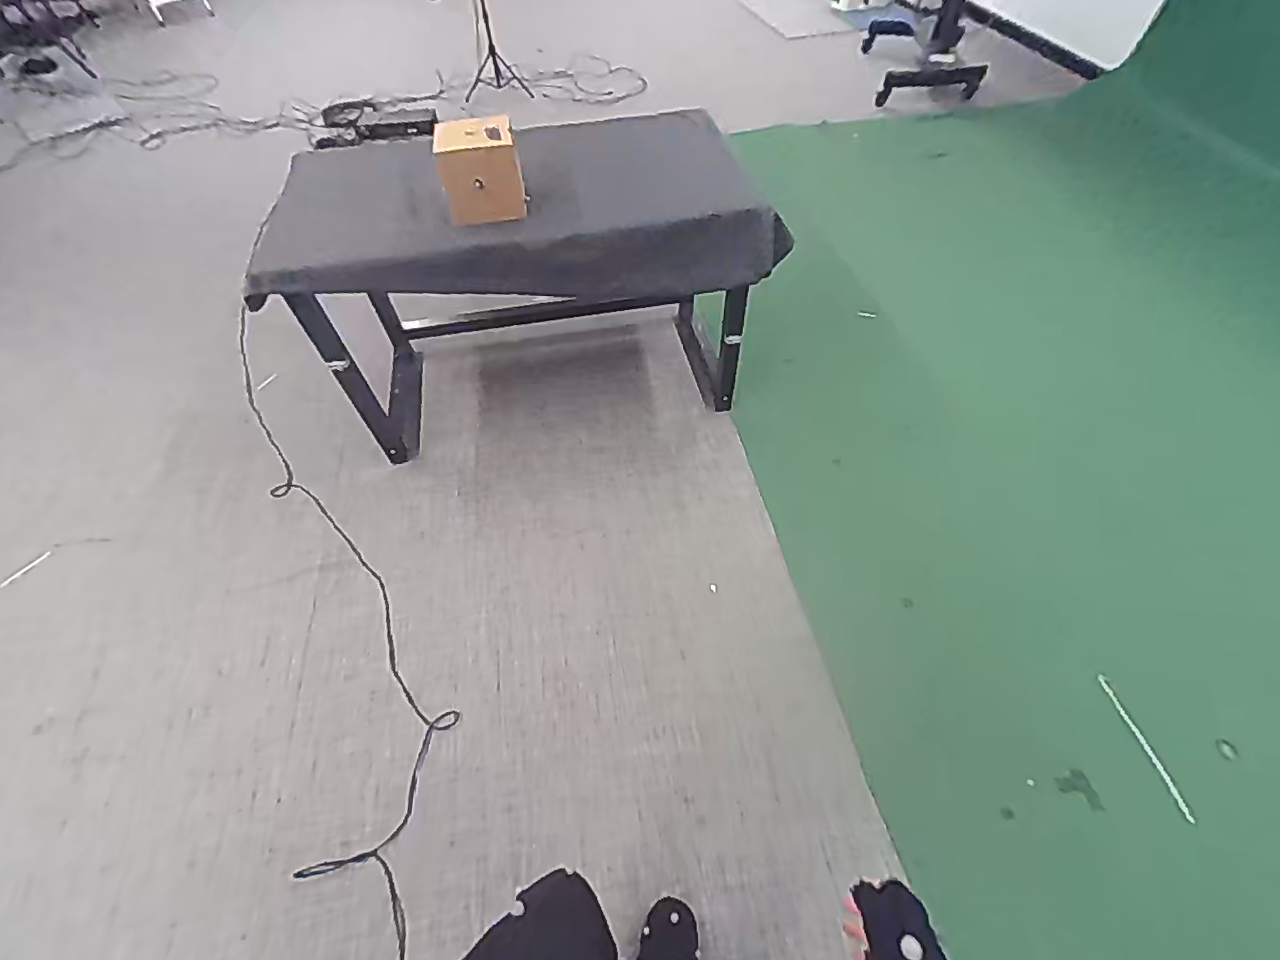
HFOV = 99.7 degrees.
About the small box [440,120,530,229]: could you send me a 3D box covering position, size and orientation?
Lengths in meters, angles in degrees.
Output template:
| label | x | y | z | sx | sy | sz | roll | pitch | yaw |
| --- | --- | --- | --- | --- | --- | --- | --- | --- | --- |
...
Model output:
| label | x | y | z | sx | sy | sz | roll | pitch | yaw |
| --- | --- | --- | --- | --- | --- | --- | --- | --- | --- |
| small box | -0.365 | -0.727 | 1.293 | 0.179 | 0.176 | 0.168 | -11 | 54 | -7 |
